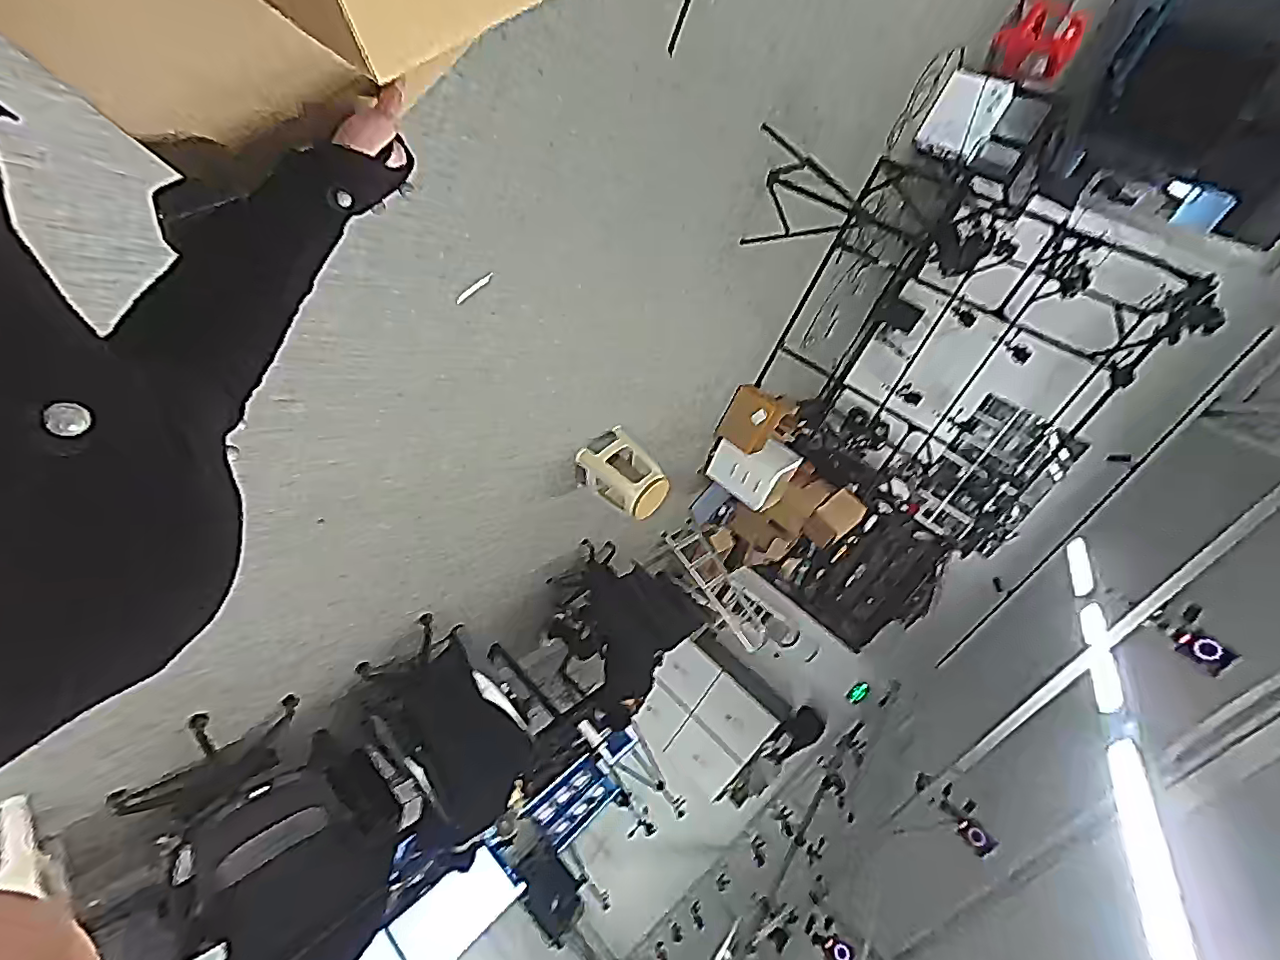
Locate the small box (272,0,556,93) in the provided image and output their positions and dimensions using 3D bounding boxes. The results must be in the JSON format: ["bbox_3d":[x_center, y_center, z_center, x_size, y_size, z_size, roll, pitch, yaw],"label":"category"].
[{"bbox_3d":[-0.181,-0.403,0.344,0.168,0.176,0.179,-41,157,-15],"label":"small box"}]
